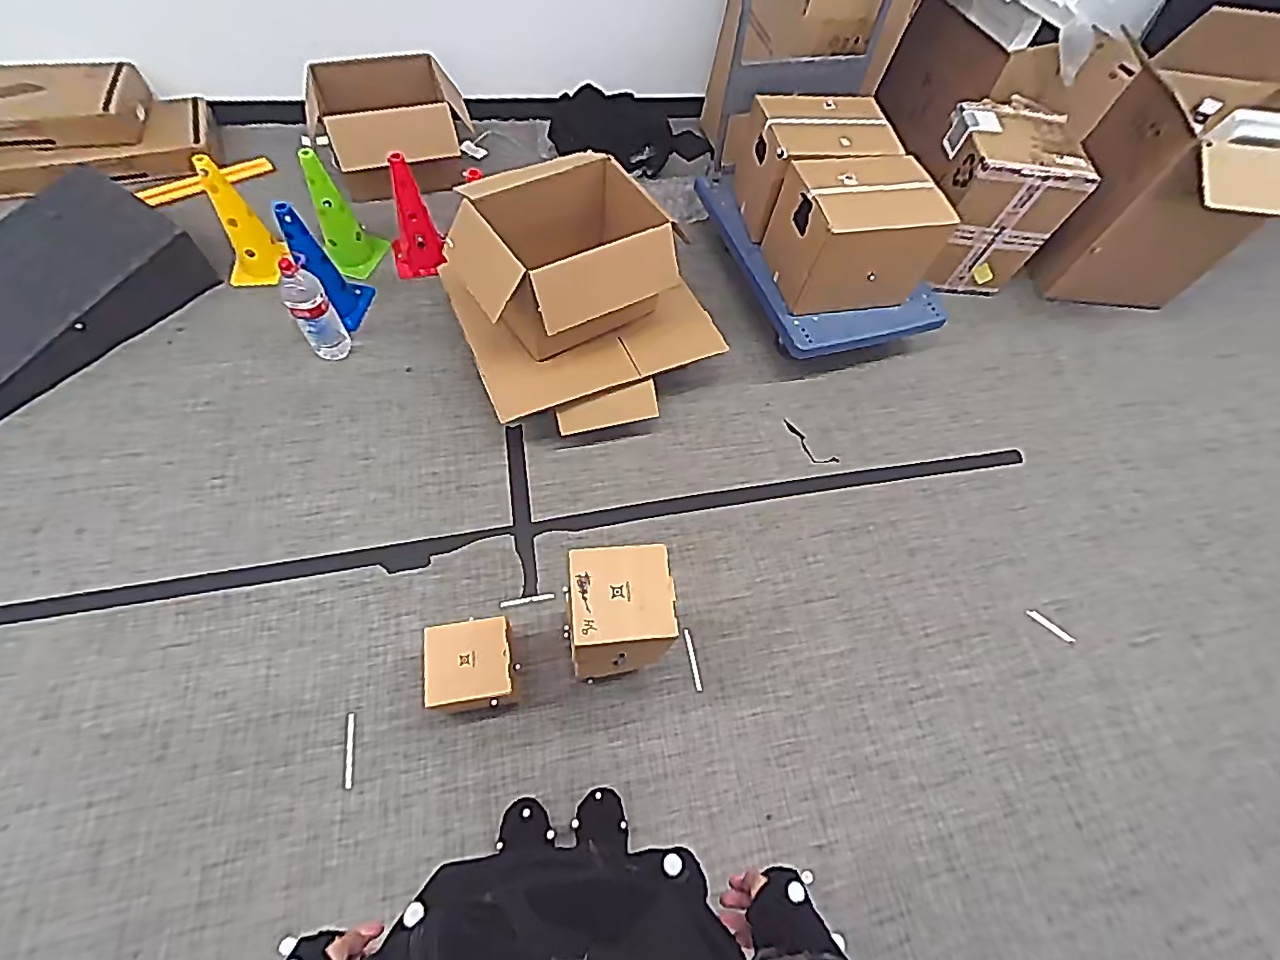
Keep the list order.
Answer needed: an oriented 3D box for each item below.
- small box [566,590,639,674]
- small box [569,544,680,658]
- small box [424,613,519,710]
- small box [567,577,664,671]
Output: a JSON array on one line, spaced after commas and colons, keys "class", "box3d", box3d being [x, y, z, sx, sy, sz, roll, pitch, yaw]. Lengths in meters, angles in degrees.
[{"class": "small box", "box3d": [-0.082, 0.354, 1.281, 0.168, 0.176, 0.179, -7, 63, -11]}, {"class": "small box", "box3d": [-0.037, 0.223, 0.982, 0.179, 0.176, 0.168, -2, 63, -9]}, {"class": "small box", "box3d": [-0.374, 0.412, 1.216, 0.179, 0.176, 0.168, -7, 64, -11]}, {"class": "small box", "box3d": [-0.056, 0.294, 1.129, 0.179, 0.176, 0.168, -5, 64, -11]}]
